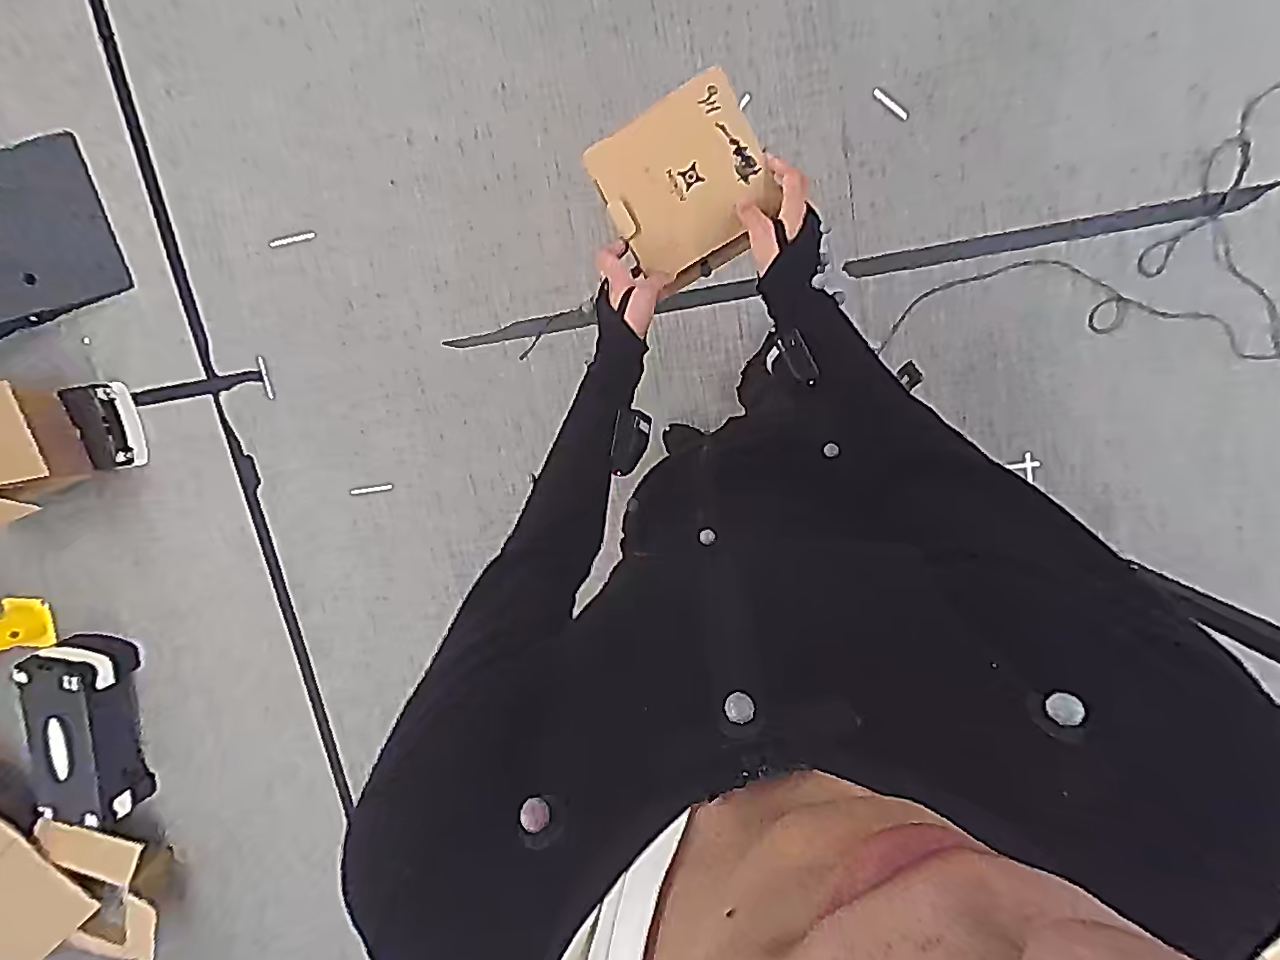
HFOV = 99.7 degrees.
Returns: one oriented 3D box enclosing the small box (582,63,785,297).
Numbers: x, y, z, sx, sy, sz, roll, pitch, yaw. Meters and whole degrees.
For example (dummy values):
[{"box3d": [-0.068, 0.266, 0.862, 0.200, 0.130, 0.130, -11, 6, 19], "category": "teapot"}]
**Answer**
[{"box3d": [0.055, -0.346, 0.670, 0.179, 0.176, 0.168, -27, 99, 10], "category": "small box"}]
